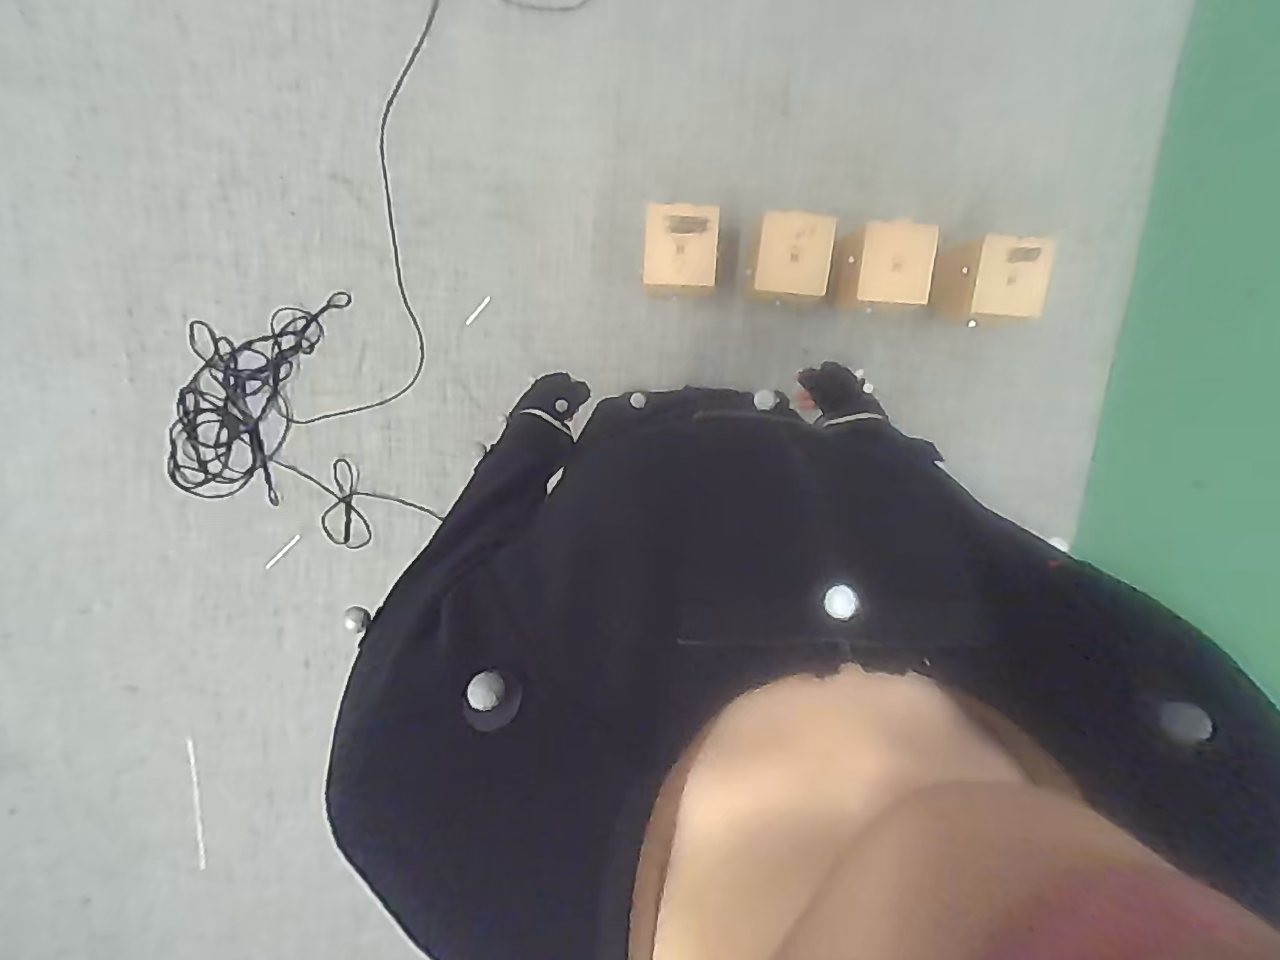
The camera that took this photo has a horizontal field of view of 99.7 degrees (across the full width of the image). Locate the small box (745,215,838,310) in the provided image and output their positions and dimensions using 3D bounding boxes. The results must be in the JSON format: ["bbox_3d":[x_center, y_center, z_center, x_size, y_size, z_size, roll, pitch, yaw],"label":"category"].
[{"bbox_3d":[0.355,-0.513,1.298,0.168,0.176,0.179,5,100,-1],"label":"small box"}]

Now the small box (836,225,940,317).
[{"bbox_3d":[0.586,-0.494,1.301,0.168,0.176,0.179,3,99,0],"label":"small box"}]

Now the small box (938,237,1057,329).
[{"bbox_3d":[0.848,-0.467,1.301,0.168,0.176,0.179,4,101,0],"label":"small box"}]
